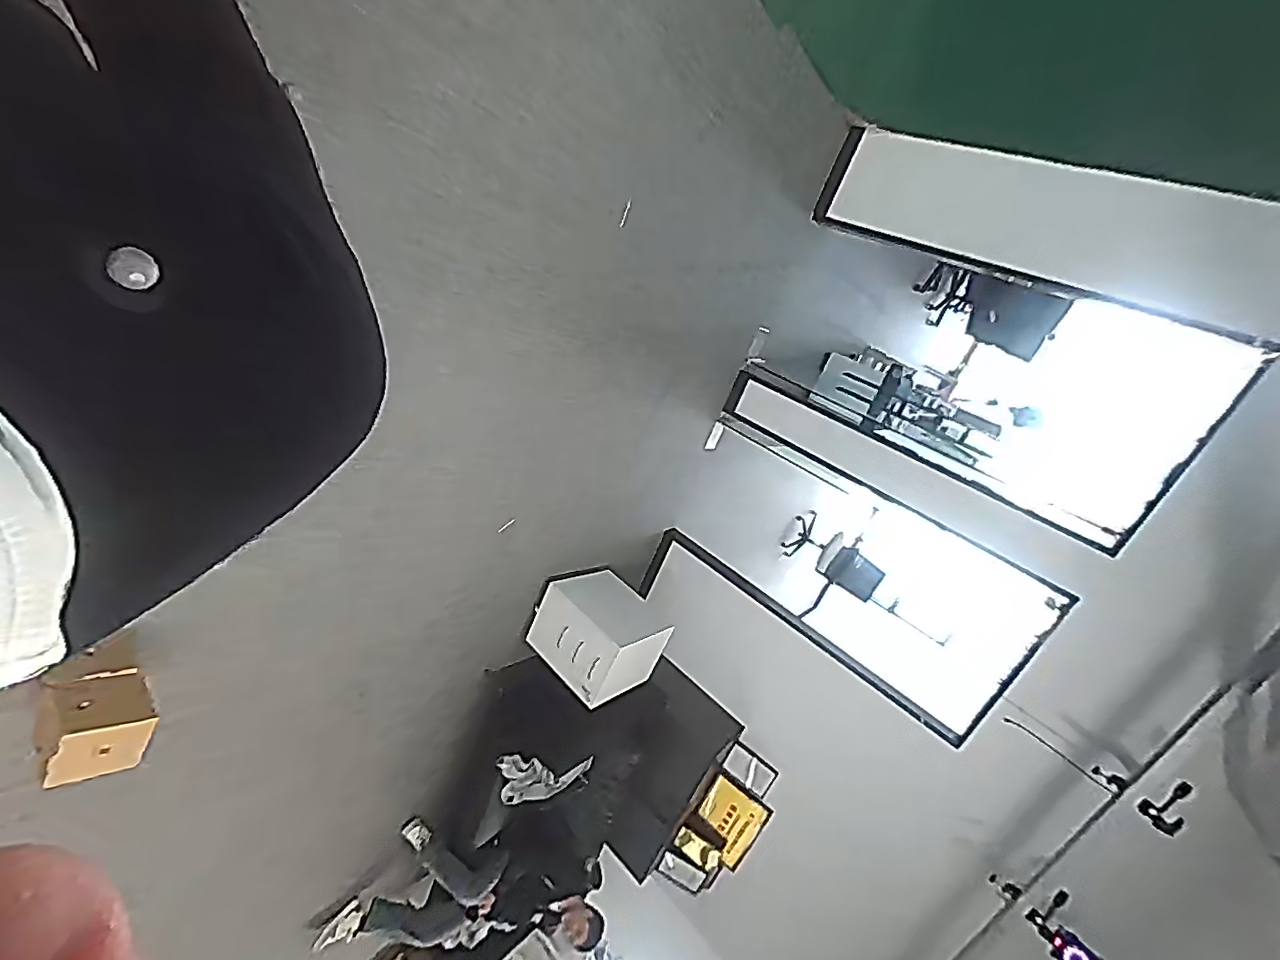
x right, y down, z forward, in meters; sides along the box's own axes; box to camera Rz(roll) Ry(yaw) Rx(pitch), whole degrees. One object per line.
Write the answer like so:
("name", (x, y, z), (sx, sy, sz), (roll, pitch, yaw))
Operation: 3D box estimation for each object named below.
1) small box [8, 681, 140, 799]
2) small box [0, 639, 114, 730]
("small box", (-1.372, 0.616, 1.308), (0.168, 0.176, 0.179), (-59, 152, 9))
("small box", (-1.484, 0.545, 1.388), (0.179, 0.176, 0.168), (-31, 144, -40))
